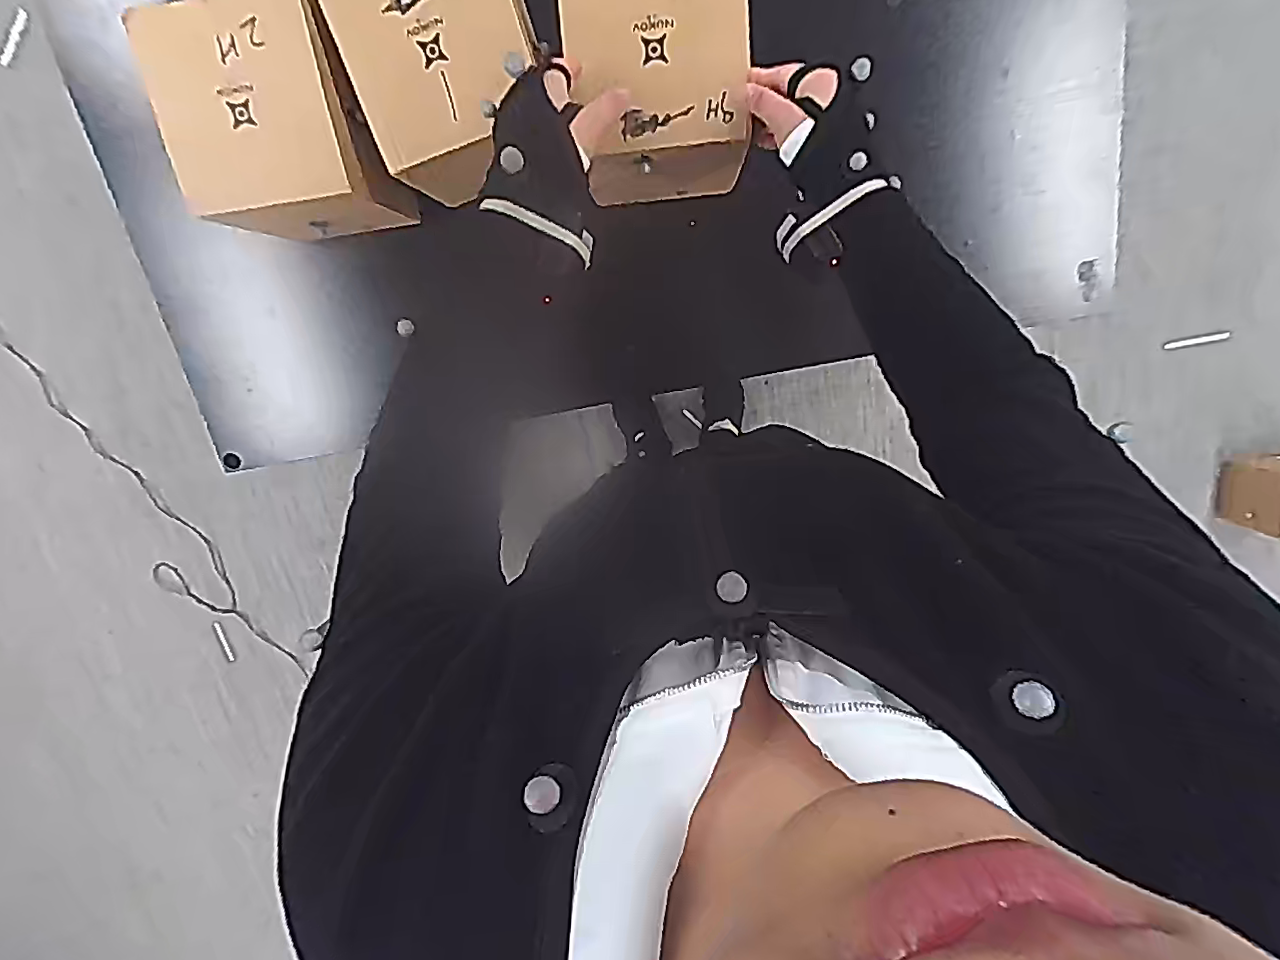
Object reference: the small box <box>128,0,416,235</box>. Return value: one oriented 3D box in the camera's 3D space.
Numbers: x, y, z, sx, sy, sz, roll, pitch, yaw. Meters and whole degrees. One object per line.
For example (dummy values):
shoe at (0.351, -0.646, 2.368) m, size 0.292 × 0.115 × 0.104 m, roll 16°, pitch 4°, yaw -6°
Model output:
small box at (-0.366, -0.373, 0.580) m, size 0.168 × 0.176 × 0.179 m, roll -8°, pitch 105°, yaw 3°

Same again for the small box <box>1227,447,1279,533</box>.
small box at (1.669, 0.022, 1.380) m, size 0.168 × 0.176 × 0.179 m, roll -11°, pitch 105°, yaw 4°
